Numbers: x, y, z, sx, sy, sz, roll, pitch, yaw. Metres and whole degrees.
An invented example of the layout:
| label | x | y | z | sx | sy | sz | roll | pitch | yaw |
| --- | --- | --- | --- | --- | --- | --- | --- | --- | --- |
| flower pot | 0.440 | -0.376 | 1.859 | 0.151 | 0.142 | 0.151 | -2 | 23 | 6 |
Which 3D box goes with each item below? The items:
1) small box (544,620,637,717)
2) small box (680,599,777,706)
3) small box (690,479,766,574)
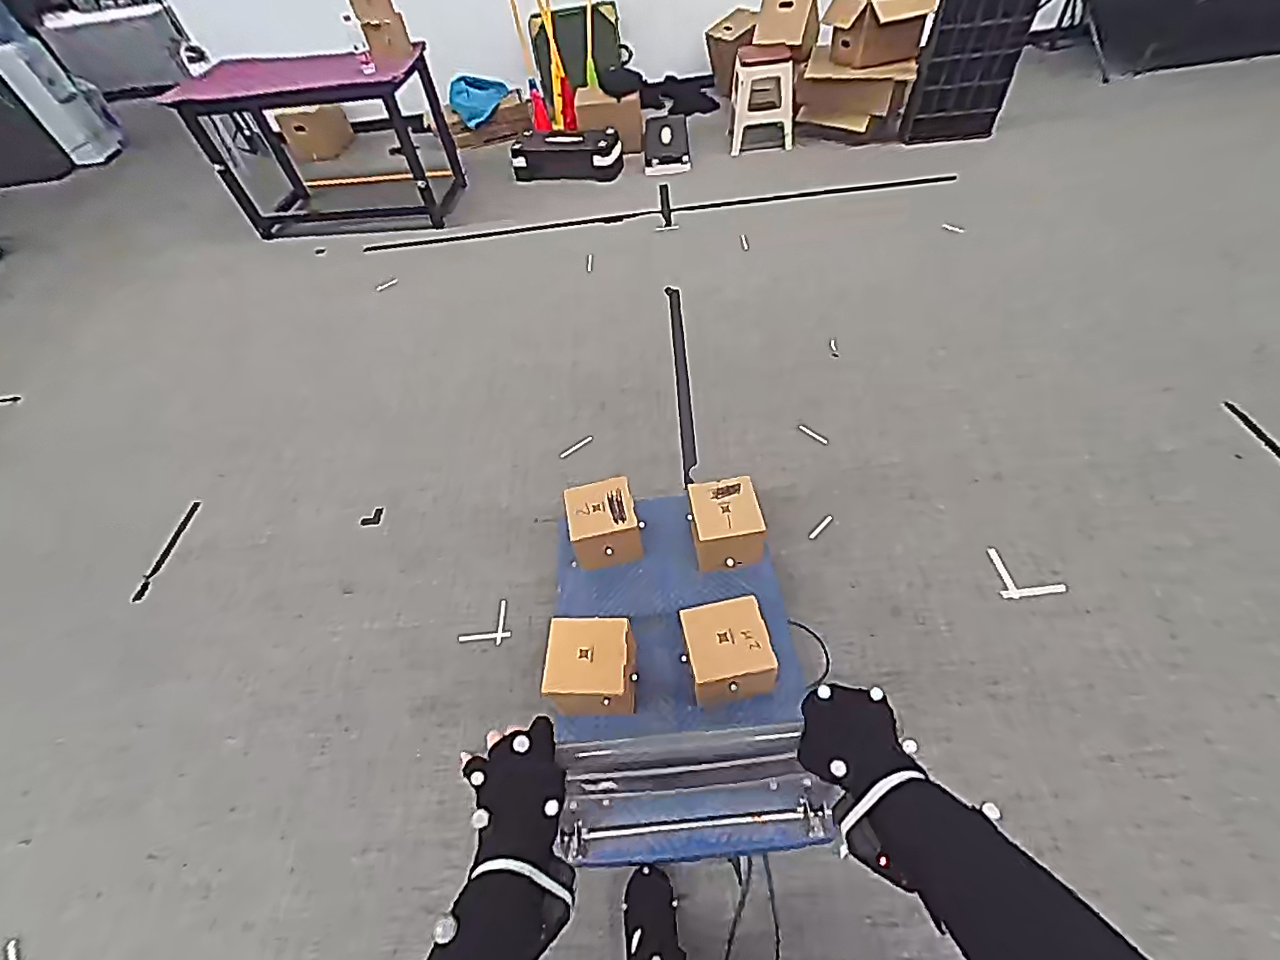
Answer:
| label | x | y | z | sx | sy | sz | roll | pitch | yaw |
| --- | --- | --- | --- | --- | --- | --- | --- | --- | --- |
| small box | -0.105 | 0.432 | 1.233 | 0.179 | 0.176 | 0.168 | -1 | 52 | 5 |
| small box | 0.197 | 0.394 | 1.222 | 0.179 | 0.176 | 0.168 | -11 | 52 | -1 |
| small box | 0.225 | 0.124 | 1.429 | 0.168 | 0.176 | 0.179 | -10 | 53 | 0 |
